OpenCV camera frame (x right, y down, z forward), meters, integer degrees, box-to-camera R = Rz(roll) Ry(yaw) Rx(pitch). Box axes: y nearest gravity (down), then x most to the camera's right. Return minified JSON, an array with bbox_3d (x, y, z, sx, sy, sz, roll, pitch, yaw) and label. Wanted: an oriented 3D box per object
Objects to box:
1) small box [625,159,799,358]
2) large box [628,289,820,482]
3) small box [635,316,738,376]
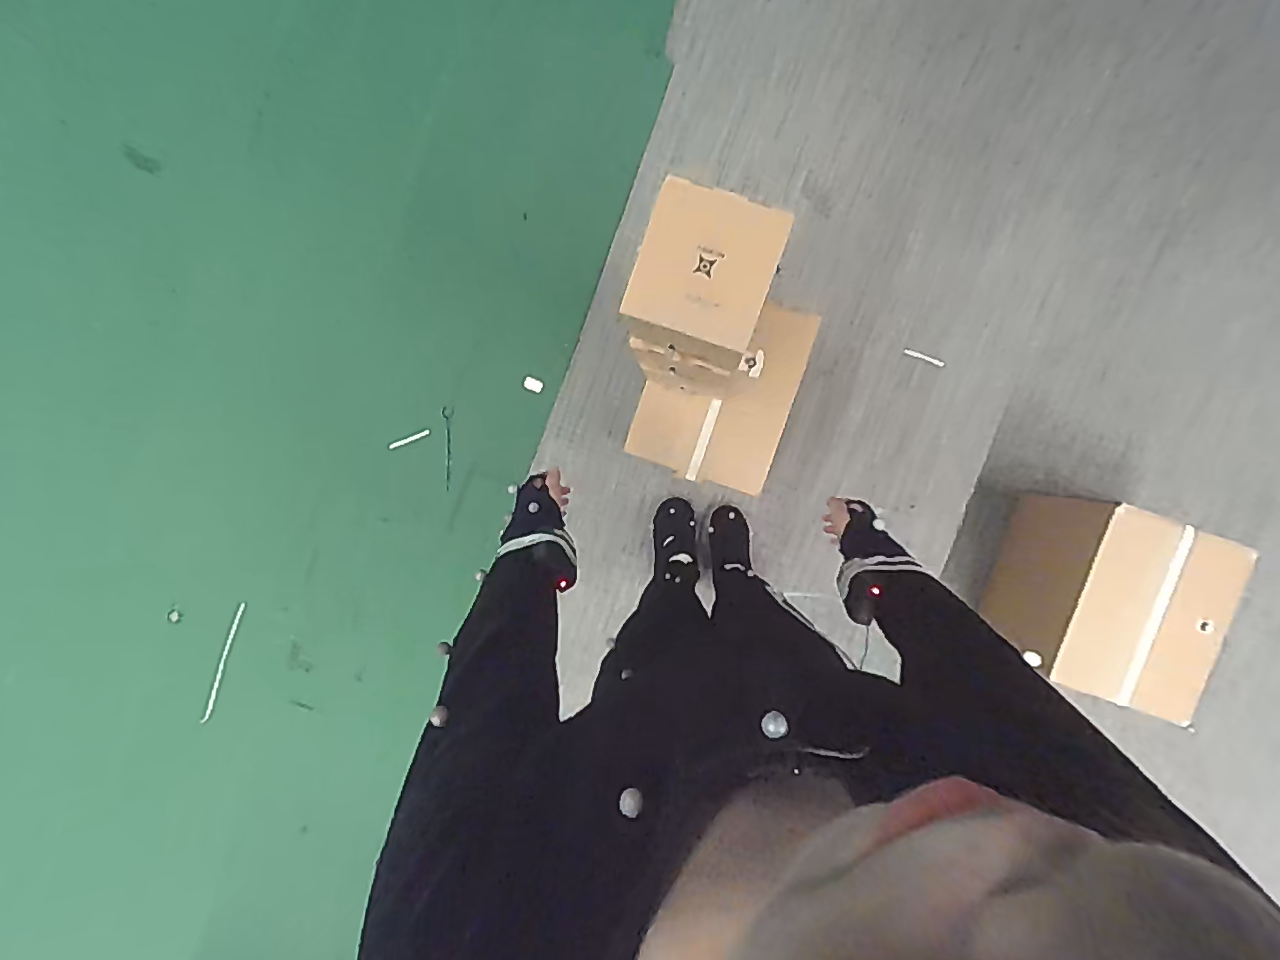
[{"bbox_3d":[0.092,-0.283,0.731,0.168,0.176,0.179,21,96,5],"label":"small box"},{"bbox_3d":[0.187,-0.231,1.302,0.320,0.320,0.408,19,94,2],"label":"large box"},{"bbox_3d":[0.101,-0.287,0.894,0.168,0.176,0.179,19,95,5],"label":"small box"}]
